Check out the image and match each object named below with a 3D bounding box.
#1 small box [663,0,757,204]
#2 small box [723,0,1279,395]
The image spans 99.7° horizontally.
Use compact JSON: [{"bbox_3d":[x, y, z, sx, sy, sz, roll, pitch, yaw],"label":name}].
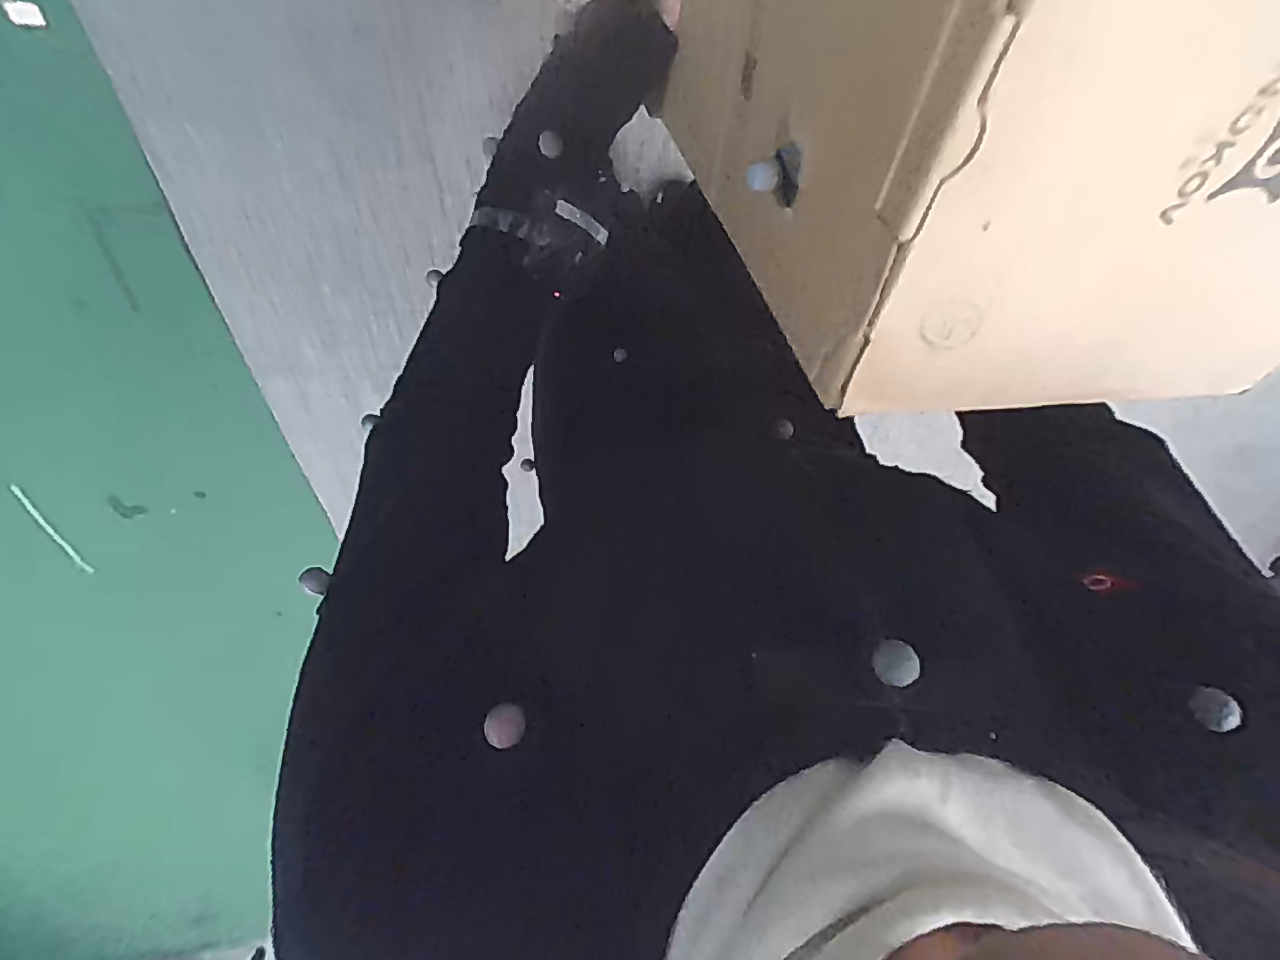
[{"bbox_3d":[0.110,-0.271,0.287,0.168,0.176,0.179,-5,140,-9],"label":"small box"},{"bbox_3d":[0.140,-0.150,0.183,0.179,0.176,0.168,-6,142,-9],"label":"small box"}]
